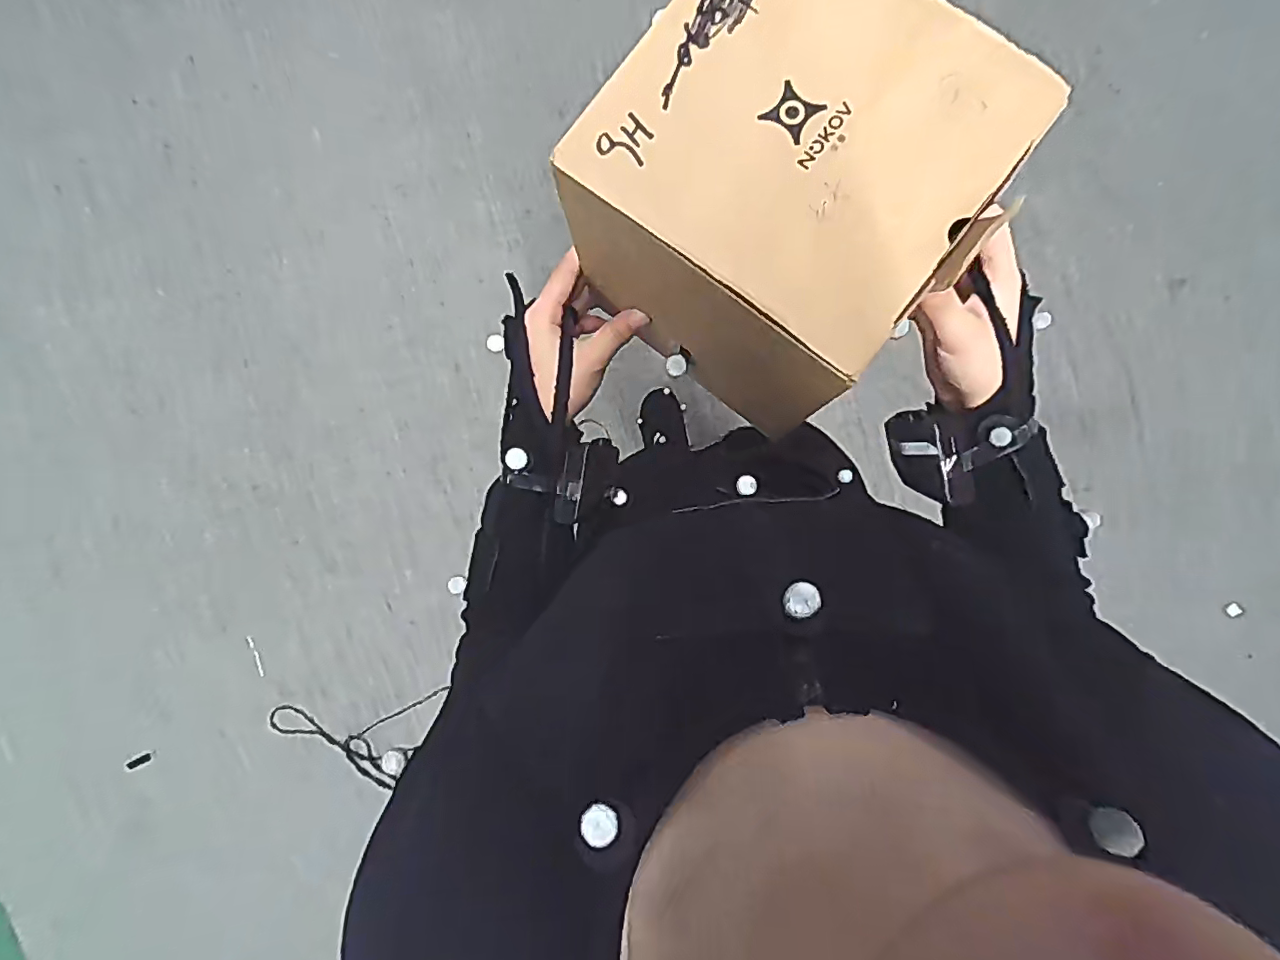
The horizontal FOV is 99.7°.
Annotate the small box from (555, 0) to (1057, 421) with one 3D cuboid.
[{"bbox_3d":[0.078,-0.153,0.330,0.179,0.176,0.168,40,88,4],"label":"small box"}]
